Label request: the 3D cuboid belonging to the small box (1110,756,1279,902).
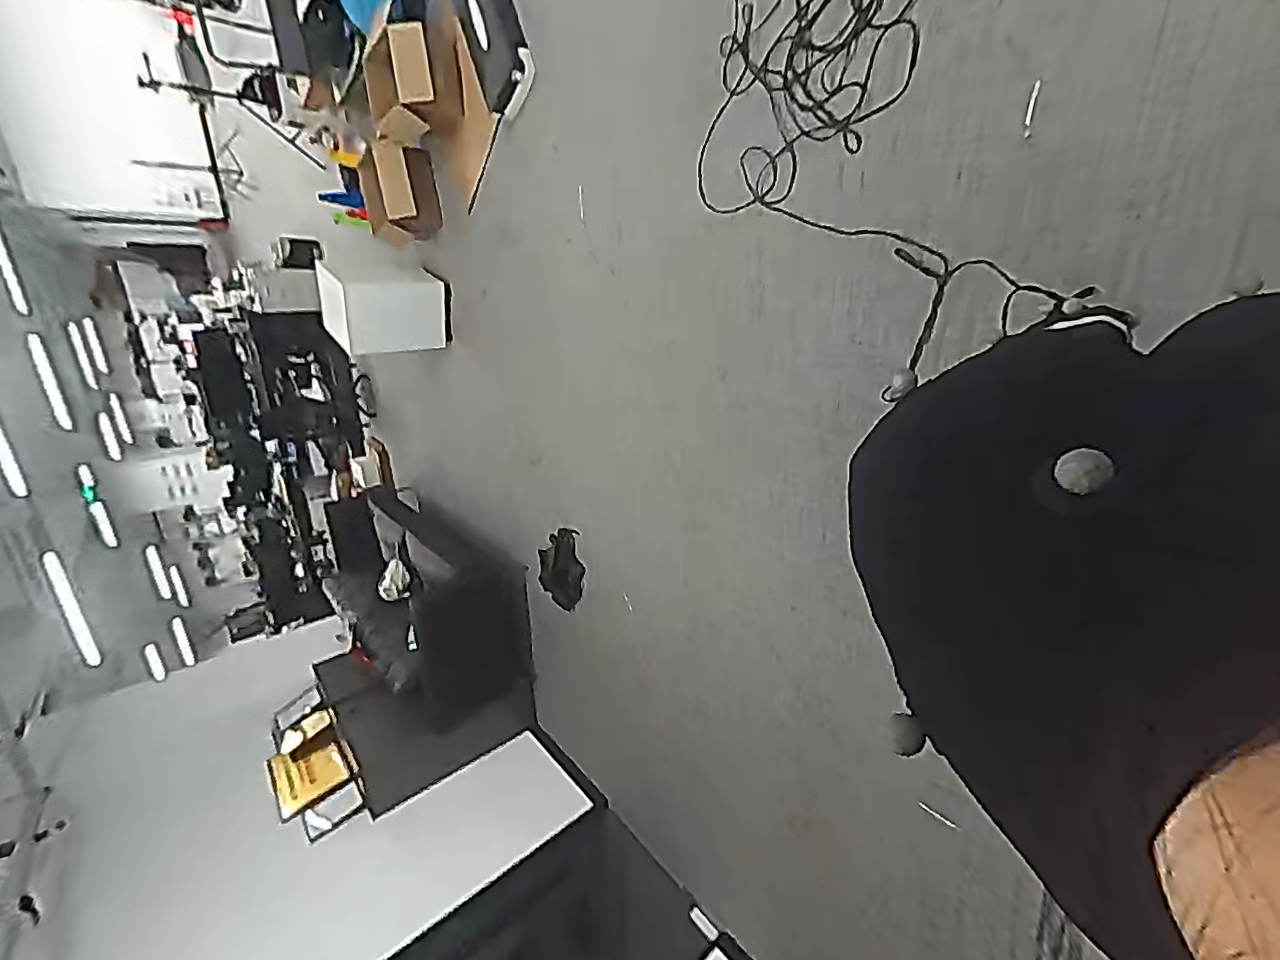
[{"bbox_3d":[1.075,0.663,1.042,0.179,0.176,0.168,54,140,22],"label":"small box"}]
